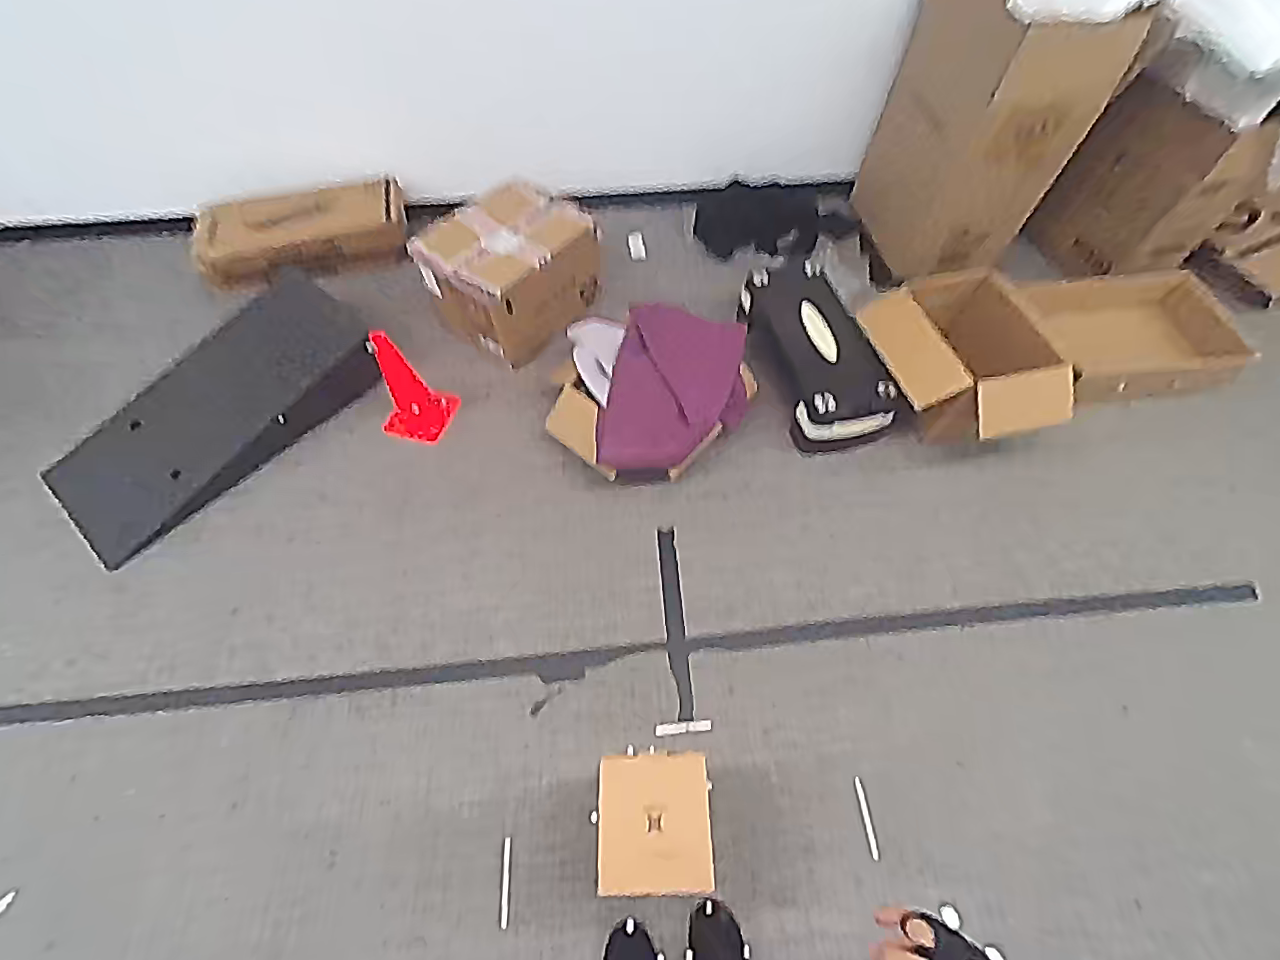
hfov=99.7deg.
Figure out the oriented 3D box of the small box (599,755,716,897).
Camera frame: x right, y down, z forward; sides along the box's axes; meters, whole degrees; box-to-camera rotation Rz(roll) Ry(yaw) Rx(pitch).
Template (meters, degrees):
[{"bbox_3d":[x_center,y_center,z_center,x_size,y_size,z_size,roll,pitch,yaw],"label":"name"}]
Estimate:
[{"bbox_3d":[0.023,0.544,0.861,0.168,0.176,0.179,-2,60,0],"label":"small box"}]
